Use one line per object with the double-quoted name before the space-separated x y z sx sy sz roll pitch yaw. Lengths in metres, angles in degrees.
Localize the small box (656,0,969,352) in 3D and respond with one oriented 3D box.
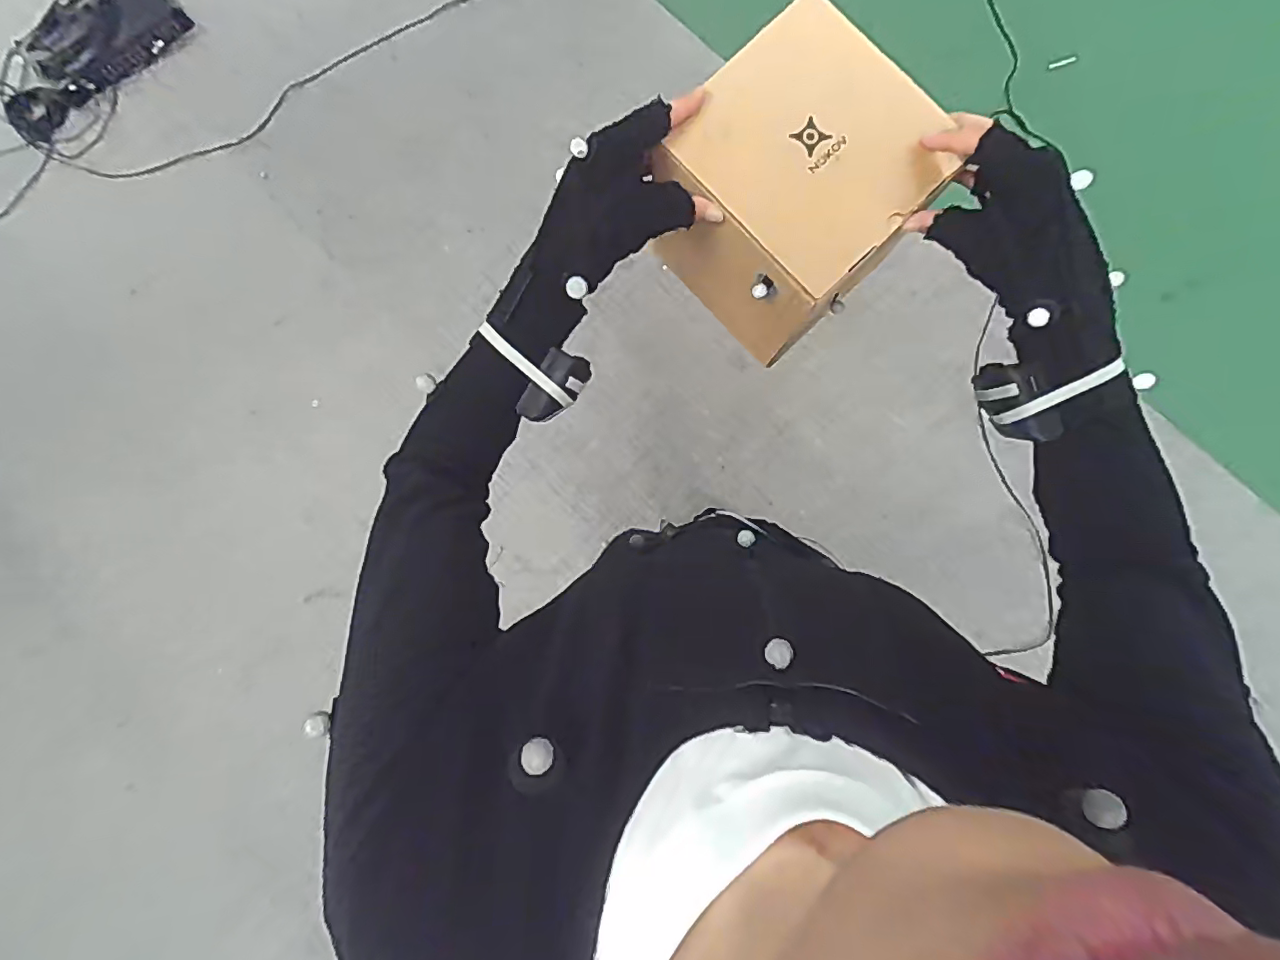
"small box" 0.127 -0.243 0.478 0.168 0.176 0.179 -43 87 -2
